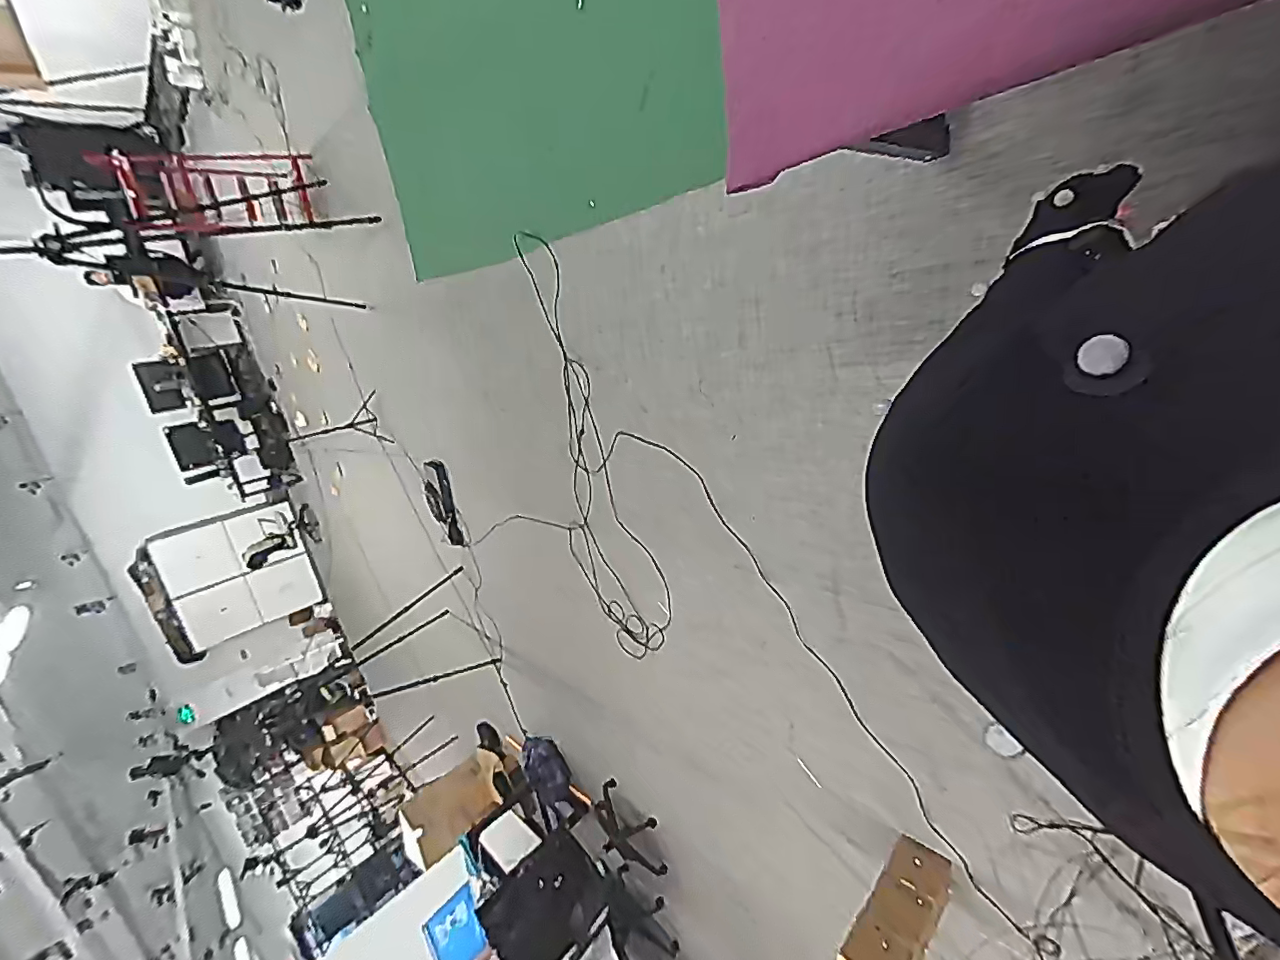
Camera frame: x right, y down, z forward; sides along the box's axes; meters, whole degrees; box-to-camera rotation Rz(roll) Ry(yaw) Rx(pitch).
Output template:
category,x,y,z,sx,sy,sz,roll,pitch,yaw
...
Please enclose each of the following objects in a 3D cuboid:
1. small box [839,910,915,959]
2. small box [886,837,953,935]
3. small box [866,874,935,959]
category,x,y,z,sx,sy,sz,roll,pitch,yaw
small box,0.729,1.501,1.668,0.168,0.176,0.179,17,120,42
small box,0.964,1.392,1.868,0.168,0.176,0.179,10,115,44
small box,0.849,1.452,1.767,0.168,0.176,0.179,11,117,44
